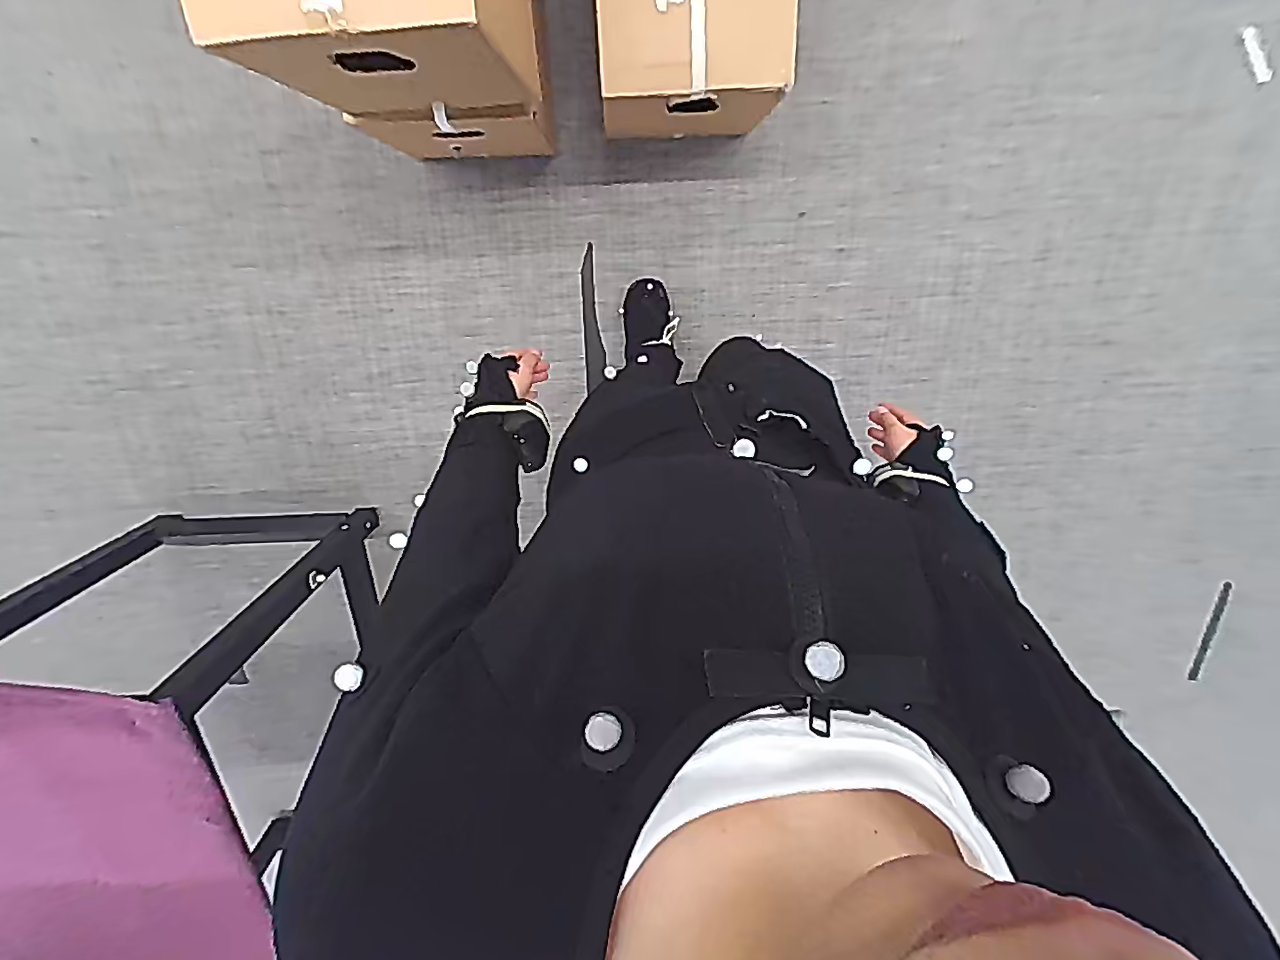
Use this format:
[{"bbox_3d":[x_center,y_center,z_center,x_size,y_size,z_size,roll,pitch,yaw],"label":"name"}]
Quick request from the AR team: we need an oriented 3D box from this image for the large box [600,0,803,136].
[{"bbox_3d":[0.085,-0.862,0.929,0.320,0.320,0.408,-4,112,0],"label":"large box"}]
